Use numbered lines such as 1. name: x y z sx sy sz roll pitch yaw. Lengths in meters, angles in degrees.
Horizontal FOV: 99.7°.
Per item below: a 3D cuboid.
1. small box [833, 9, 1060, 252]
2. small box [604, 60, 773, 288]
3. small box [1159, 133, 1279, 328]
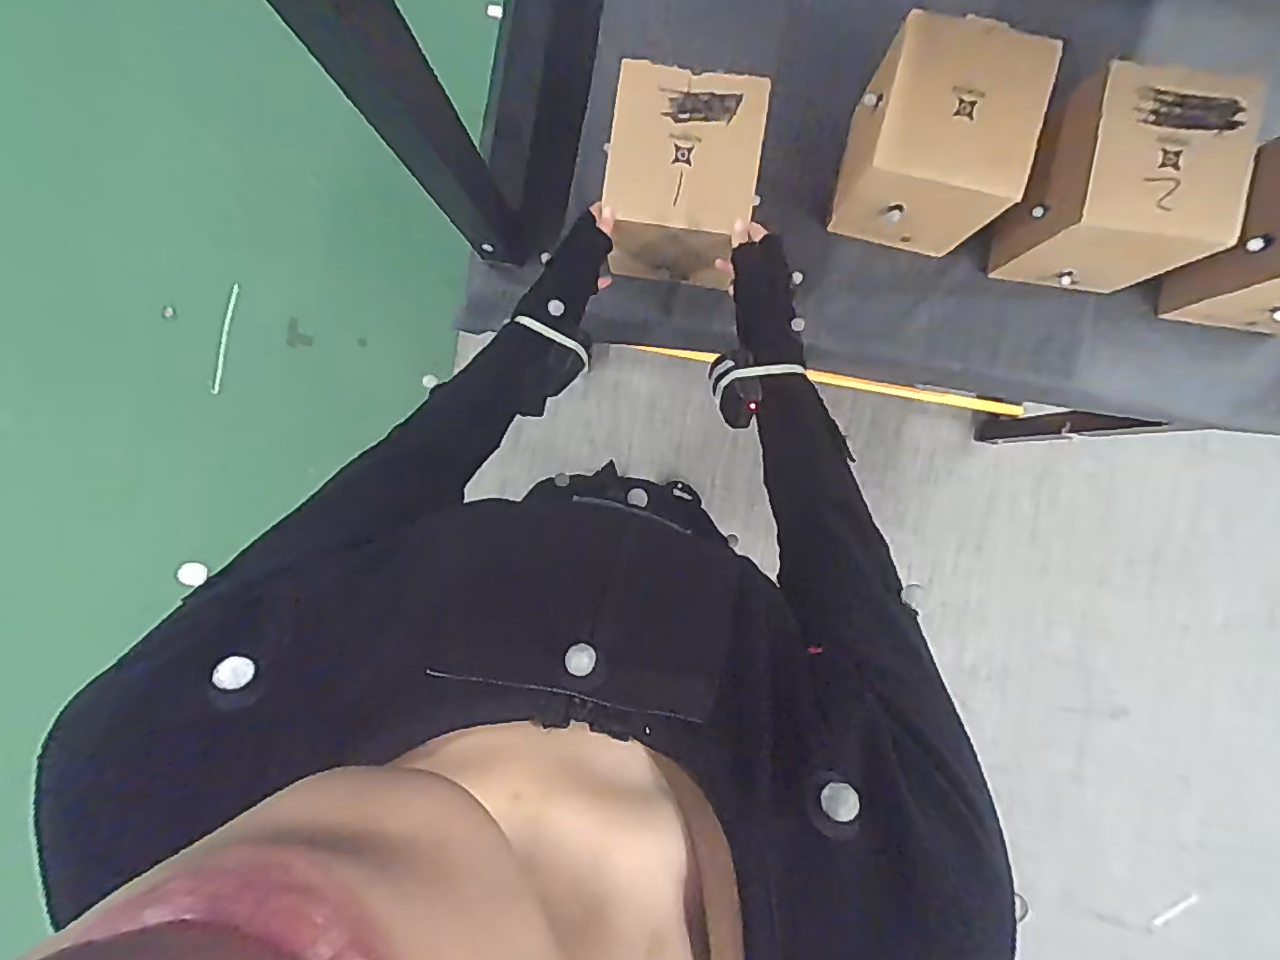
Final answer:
1. small box: 0.354 -0.407 0.663 0.168 0.176 0.179 14 91 1
2. small box: 0.054 -0.361 0.668 0.168 0.176 0.179 8 91 1
3. small box: 0.787 -0.295 0.649 0.168 0.176 0.179 9 91 1
